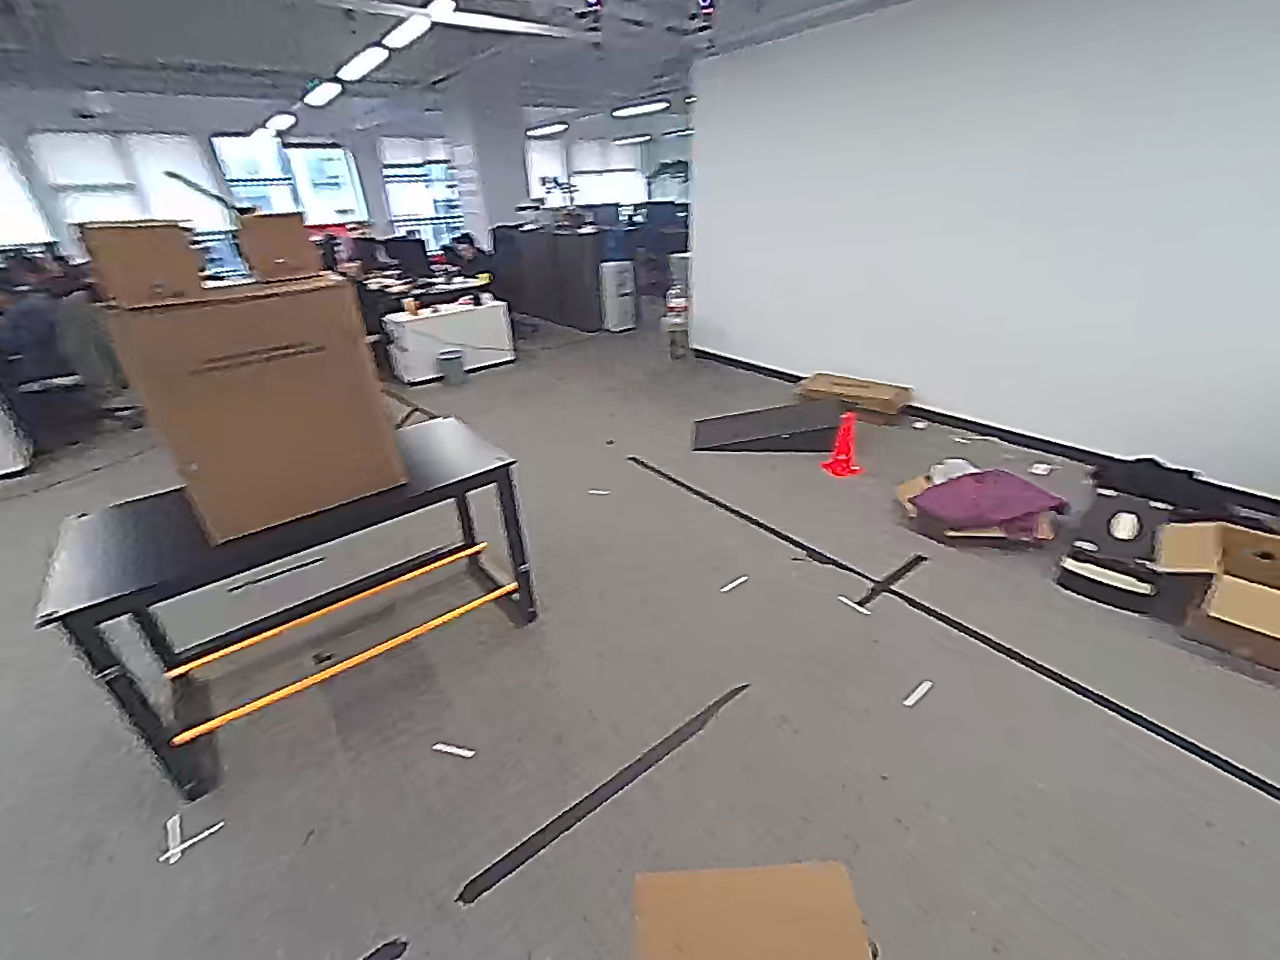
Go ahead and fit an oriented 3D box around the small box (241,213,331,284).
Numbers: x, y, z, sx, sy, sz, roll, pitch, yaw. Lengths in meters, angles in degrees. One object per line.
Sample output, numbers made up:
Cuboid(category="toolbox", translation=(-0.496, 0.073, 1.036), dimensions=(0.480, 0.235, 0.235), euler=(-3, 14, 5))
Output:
Cuboid(category="small box", translation=(-1.009, -0.660, 1.542), dimensions=(0.168, 0.176, 0.179), euler=(-23, 33, -29))
